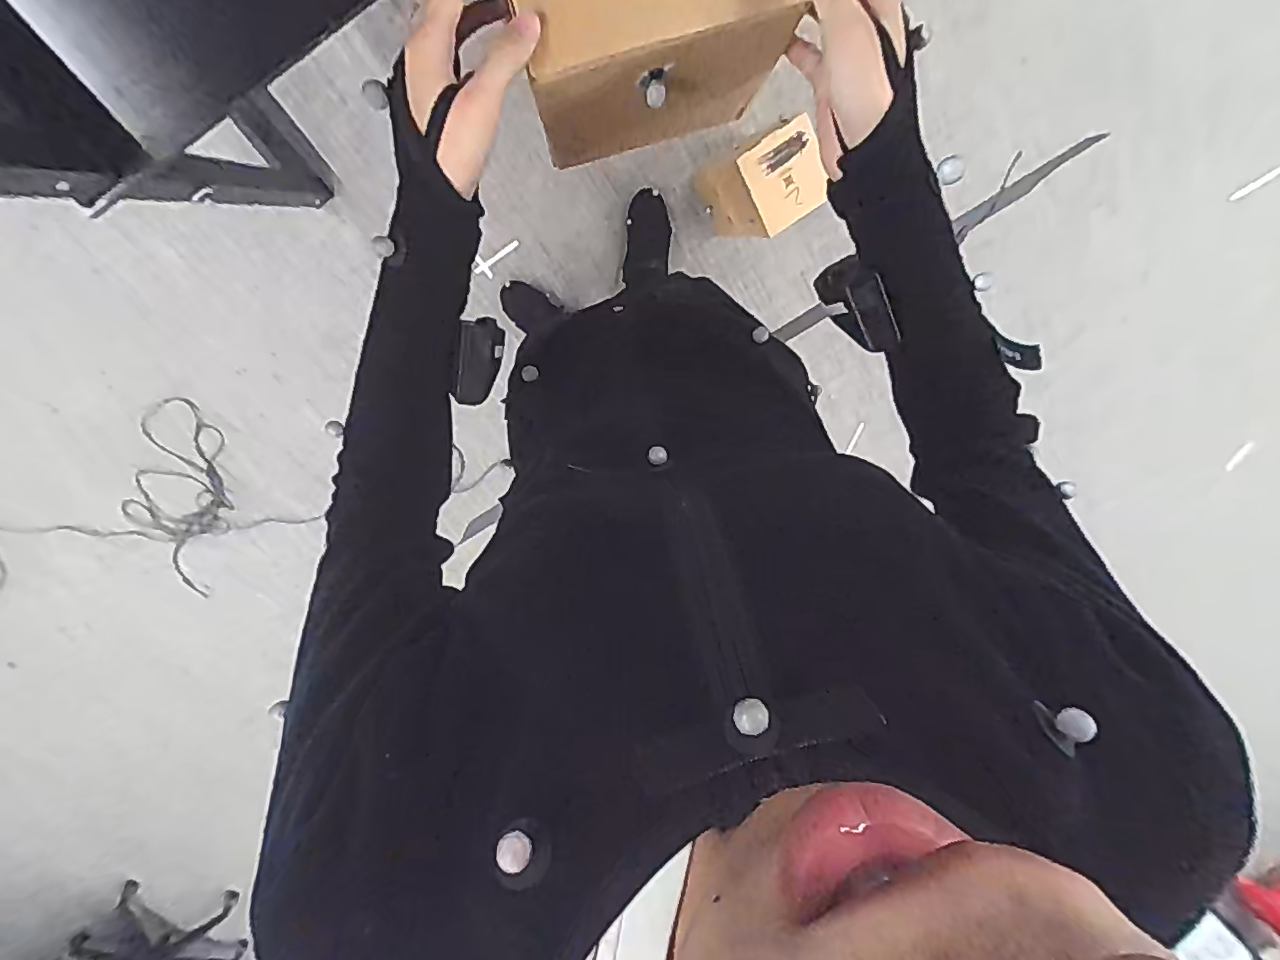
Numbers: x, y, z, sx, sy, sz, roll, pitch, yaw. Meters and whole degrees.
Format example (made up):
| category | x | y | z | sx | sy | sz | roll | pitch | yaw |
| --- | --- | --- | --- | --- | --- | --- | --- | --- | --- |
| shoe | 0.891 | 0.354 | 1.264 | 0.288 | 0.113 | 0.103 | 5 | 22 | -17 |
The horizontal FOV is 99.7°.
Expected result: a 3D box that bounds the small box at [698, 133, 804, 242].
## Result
| category | x | y | z | sx | sy | sz | roll | pitch | yaw |
| --- | --- | --- | --- | --- | --- | --- | --- | --- | --- |
| small box | 0.267 | -0.717 | 1.336 | 0.179 | 0.176 | 0.168 | -33 | 115 | 8 |
